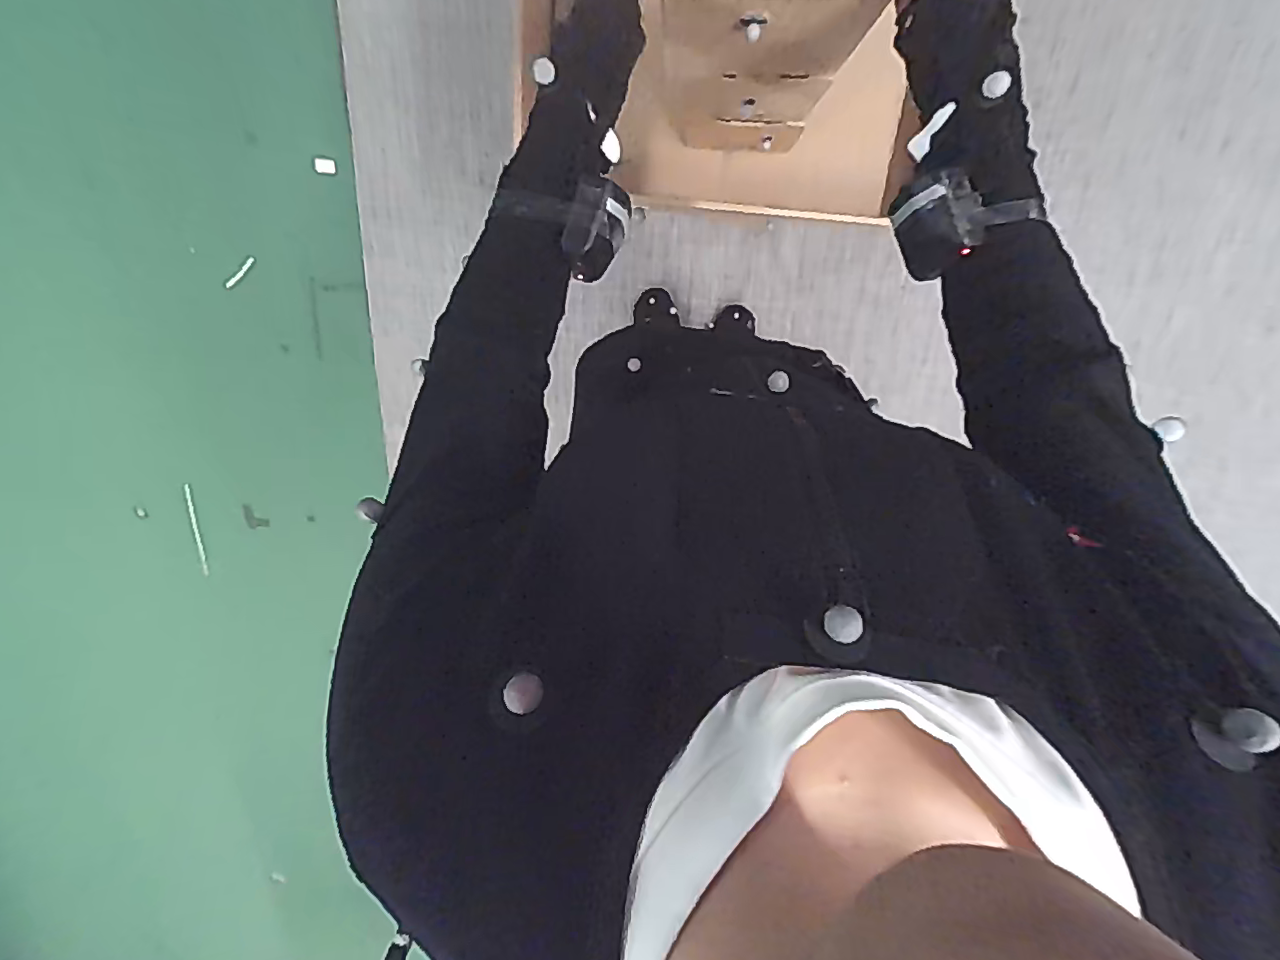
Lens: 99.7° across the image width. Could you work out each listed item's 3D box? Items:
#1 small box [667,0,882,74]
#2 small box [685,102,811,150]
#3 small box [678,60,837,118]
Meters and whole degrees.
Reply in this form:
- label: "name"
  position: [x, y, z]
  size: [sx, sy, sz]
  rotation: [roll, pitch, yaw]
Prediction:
- label: "small box"
  position: [0.113, -0.468, 0.454]
  size: [0.179, 0.176, 0.168]
  rotation: [3, 111, 2]
- label: "small box"
  position: [0.153, -0.582, 0.760]
  size: [0.168, 0.176, 0.179]
  rotation: [5, 109, 2]
- label: "small box"
  position: [0.134, -0.528, 0.607]
  size: [0.168, 0.176, 0.179]
  rotation: [5, 112, 3]
